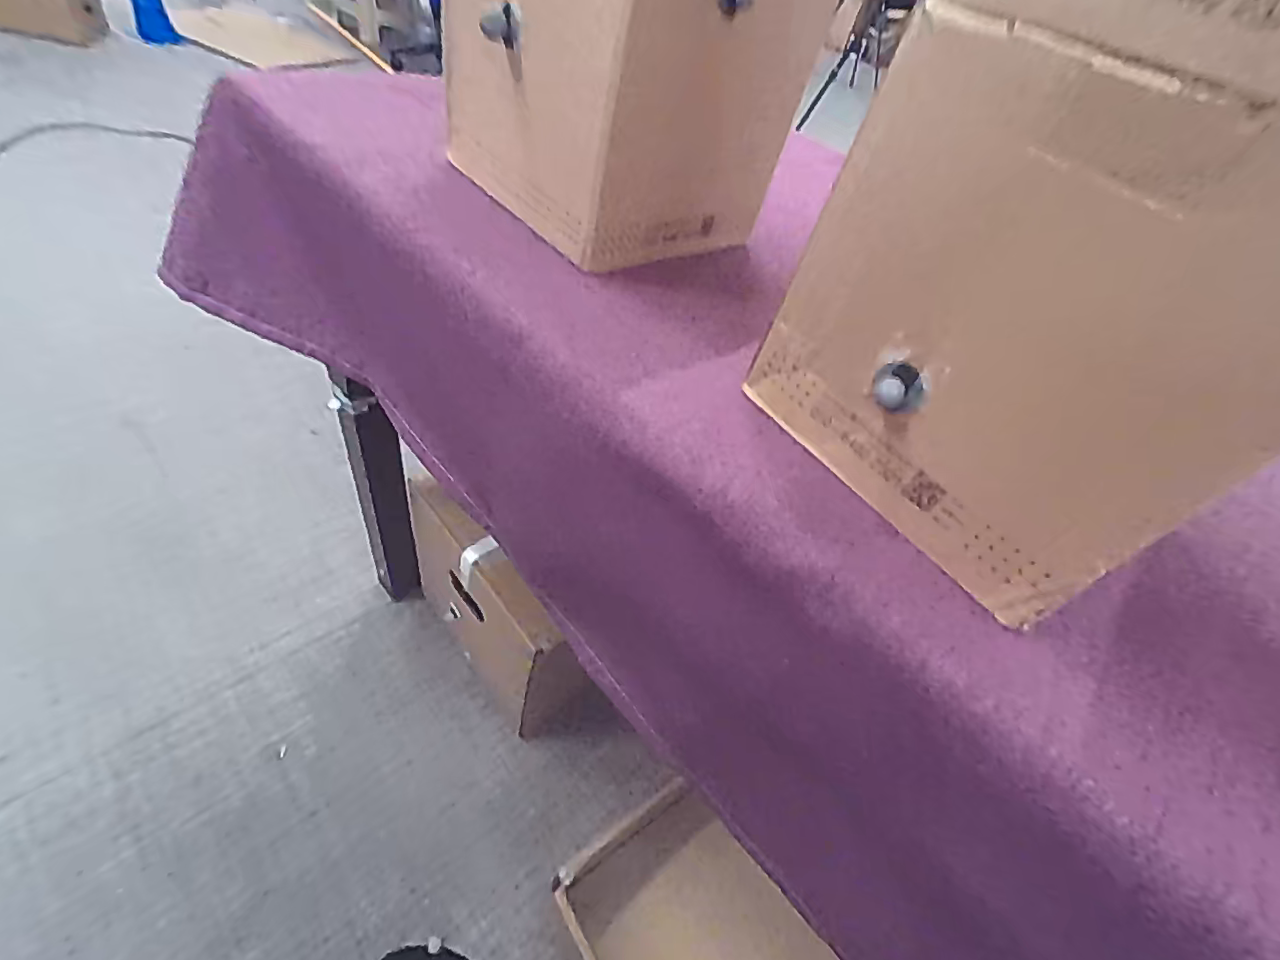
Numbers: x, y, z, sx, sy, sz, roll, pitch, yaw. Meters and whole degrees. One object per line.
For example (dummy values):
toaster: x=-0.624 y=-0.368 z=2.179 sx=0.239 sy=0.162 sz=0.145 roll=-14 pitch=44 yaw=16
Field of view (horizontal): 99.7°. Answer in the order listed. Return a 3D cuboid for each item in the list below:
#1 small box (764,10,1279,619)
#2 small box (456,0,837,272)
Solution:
small box: x=0.188 y=-0.072 z=0.246 sx=0.179 sy=0.176 sz=0.168 roll=-23 pitch=59 yaw=-32
small box: x=-0.010 y=-0.263 z=0.358 sx=0.168 sy=0.176 sz=0.179 roll=-28 pitch=61 yaw=-34
